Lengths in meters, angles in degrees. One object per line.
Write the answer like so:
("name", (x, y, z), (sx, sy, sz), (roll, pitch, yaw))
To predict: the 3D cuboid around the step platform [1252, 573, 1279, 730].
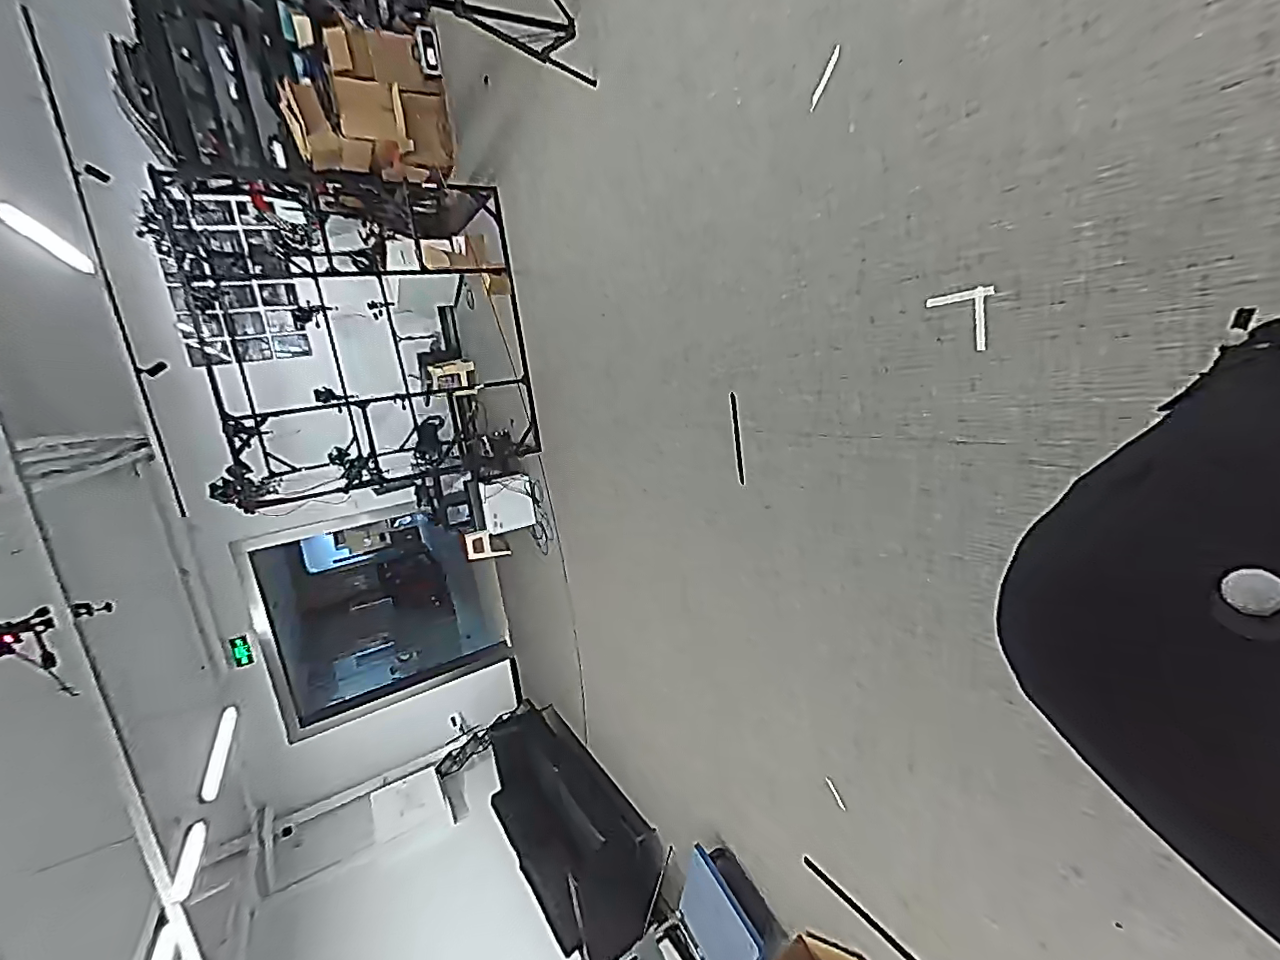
("step platform", (1.320, 0.321, 0.710), (0.684, 0.204, 0.286), (12, 112, 60))
